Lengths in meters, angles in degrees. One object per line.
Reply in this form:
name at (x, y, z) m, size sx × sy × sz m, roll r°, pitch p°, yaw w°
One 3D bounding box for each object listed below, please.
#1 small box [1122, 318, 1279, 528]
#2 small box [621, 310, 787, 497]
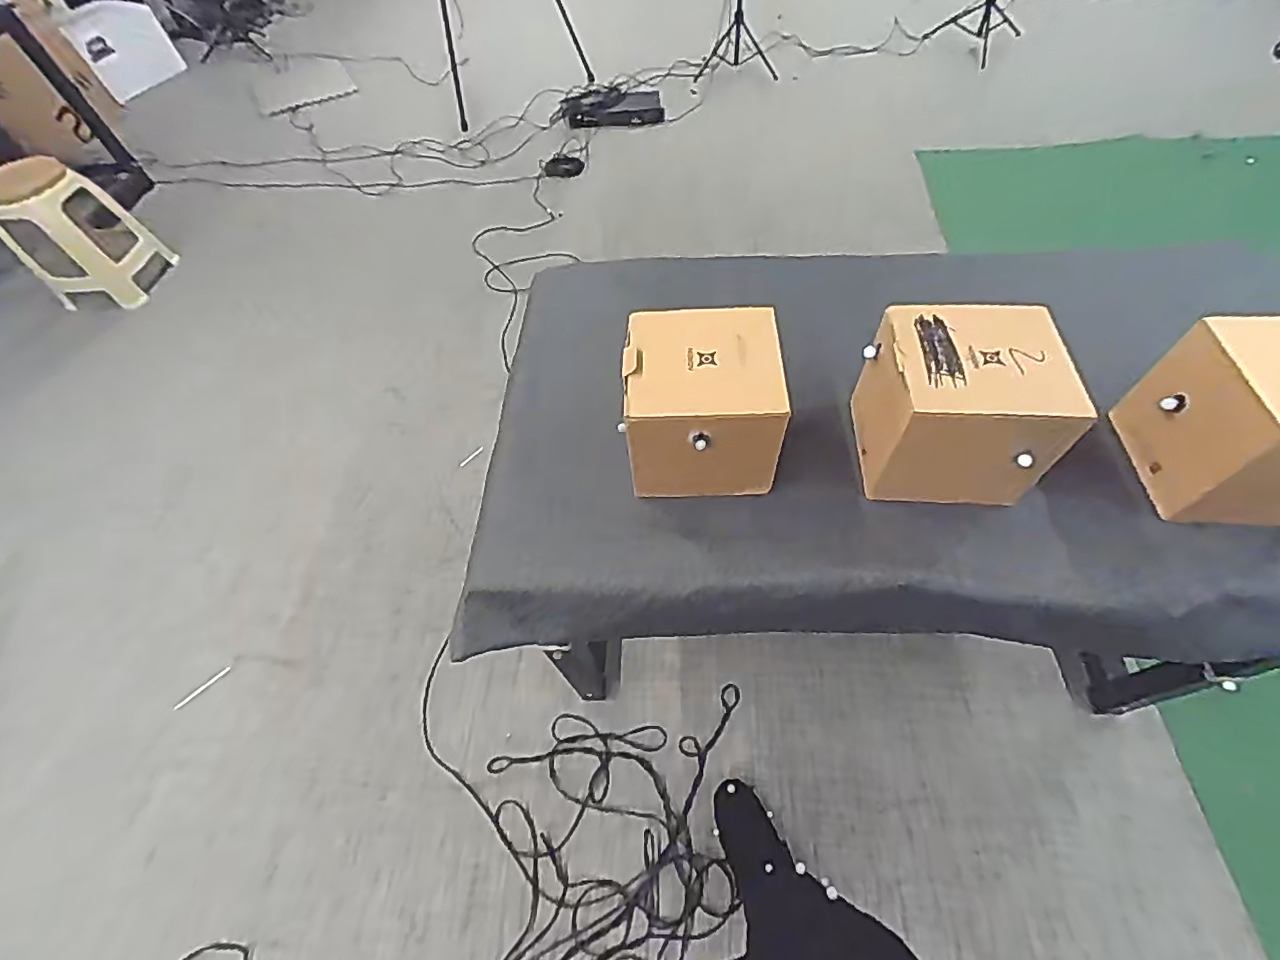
small box at (0.690, -0.057, 0.595) m, size 0.179 × 0.176 × 0.168 m, roll 2°, pitch 57°, yaw 6°
small box at (0.076, -0.088, 0.671) m, size 0.179 × 0.176 × 0.168 m, roll 0°, pitch 57°, yaw 4°
